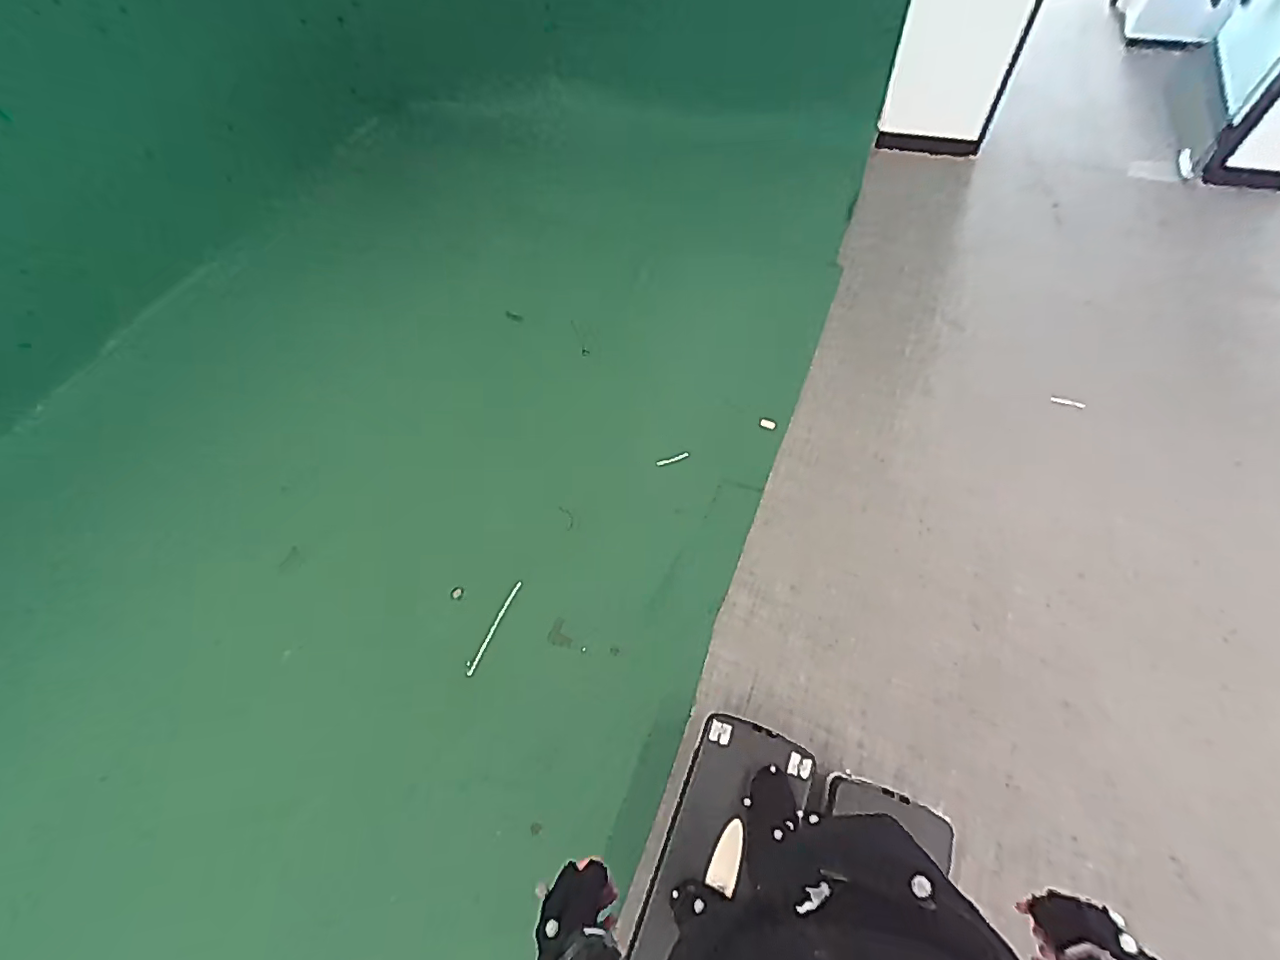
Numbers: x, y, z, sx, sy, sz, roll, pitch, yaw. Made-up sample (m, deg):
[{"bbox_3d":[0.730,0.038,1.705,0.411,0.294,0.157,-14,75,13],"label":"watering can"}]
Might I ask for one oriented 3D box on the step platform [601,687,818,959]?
[{"bbox_3d":[0.130,0.796,1.084,0.286,0.204,0.684,18,65,15],"label":"step platform"}]
